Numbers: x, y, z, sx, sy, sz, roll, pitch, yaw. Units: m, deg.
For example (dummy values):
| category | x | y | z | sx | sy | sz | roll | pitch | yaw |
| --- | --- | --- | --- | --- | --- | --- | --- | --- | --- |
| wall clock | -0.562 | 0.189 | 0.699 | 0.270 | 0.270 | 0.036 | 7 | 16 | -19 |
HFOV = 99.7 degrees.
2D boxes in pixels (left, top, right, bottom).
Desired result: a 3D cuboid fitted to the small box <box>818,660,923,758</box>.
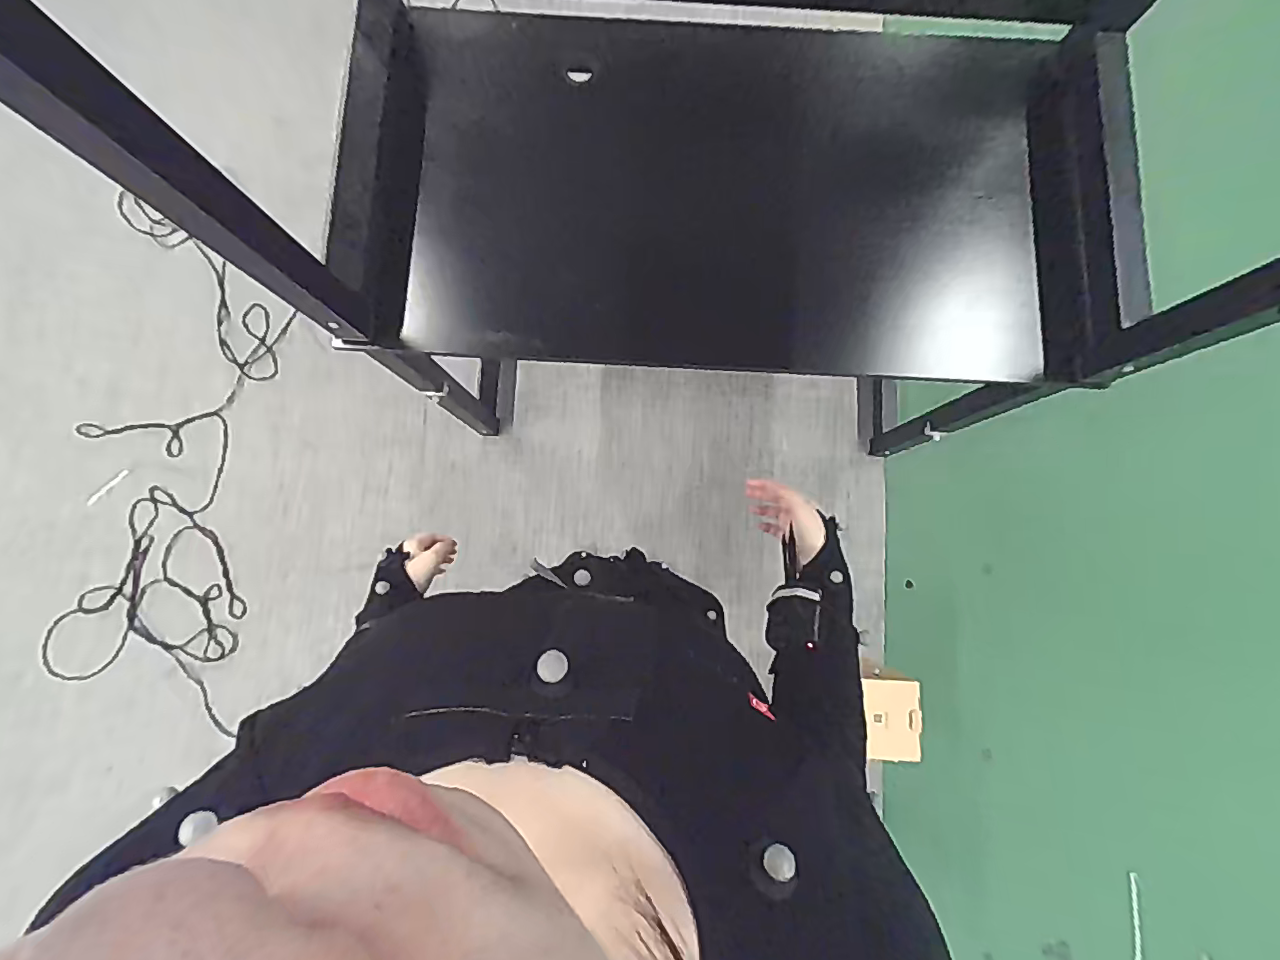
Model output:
| category | x | y | z | sx | sy | sz | roll | pitch | yaw |
| --- | --- | --- | --- | --- | --- | --- | --- | --- | --- |
| small box | 0.513 | 0.510 | 1.226 | 0.179 | 0.176 | 0.168 | 3 | 83 | -1 |
